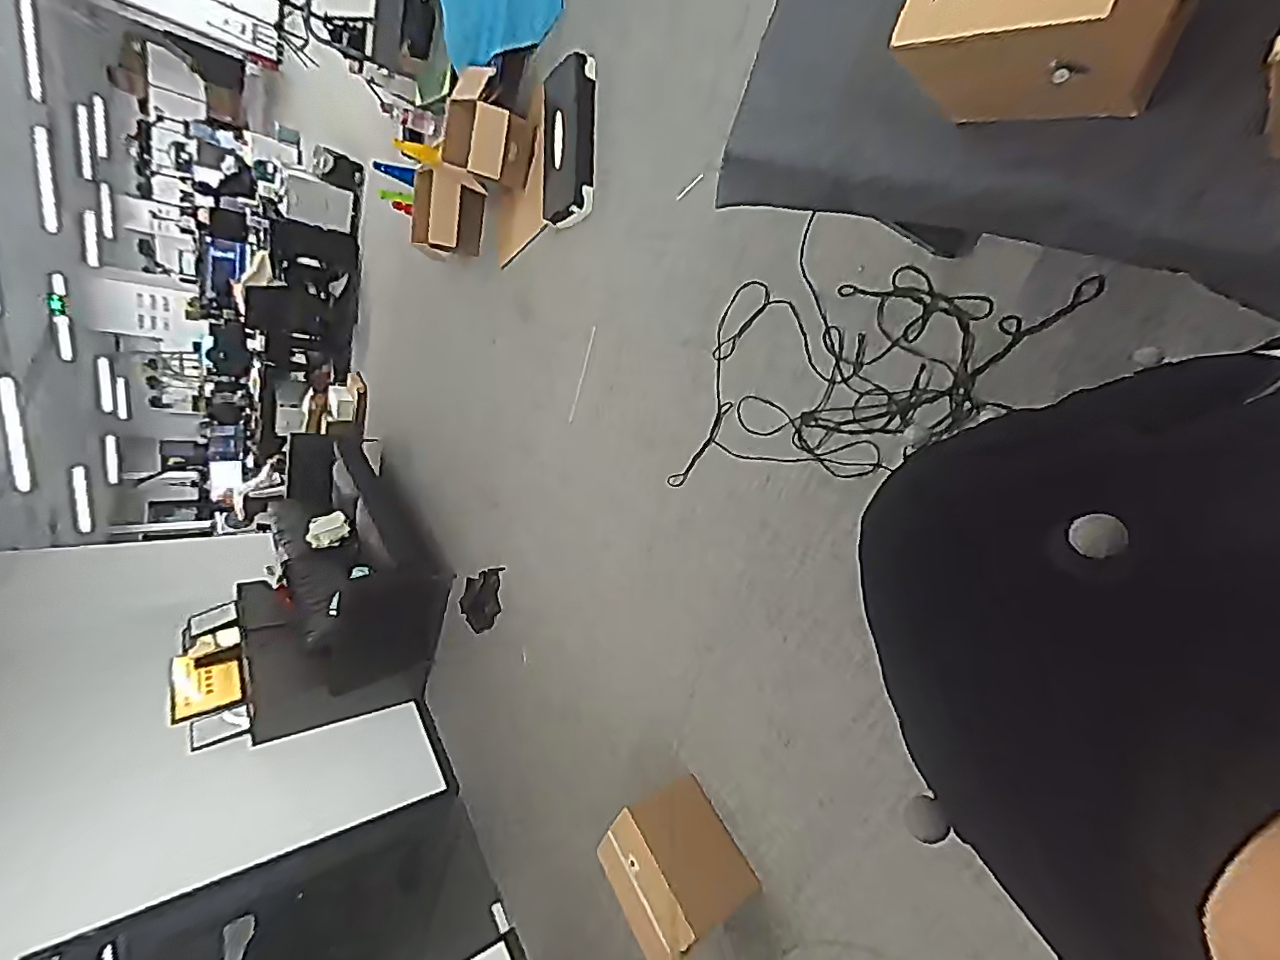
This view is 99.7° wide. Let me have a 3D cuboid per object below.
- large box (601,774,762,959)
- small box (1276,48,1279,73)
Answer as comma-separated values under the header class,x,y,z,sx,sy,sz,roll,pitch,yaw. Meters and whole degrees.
class,x,y,z,sx,sy,sz,roll,pitch,yaw
large box,0.132,1.316,1.846,0.408,0.320,0.320,49,126,38
small box,0.522,-0.311,0.301,0.168,0.176,0.179,33,114,43
